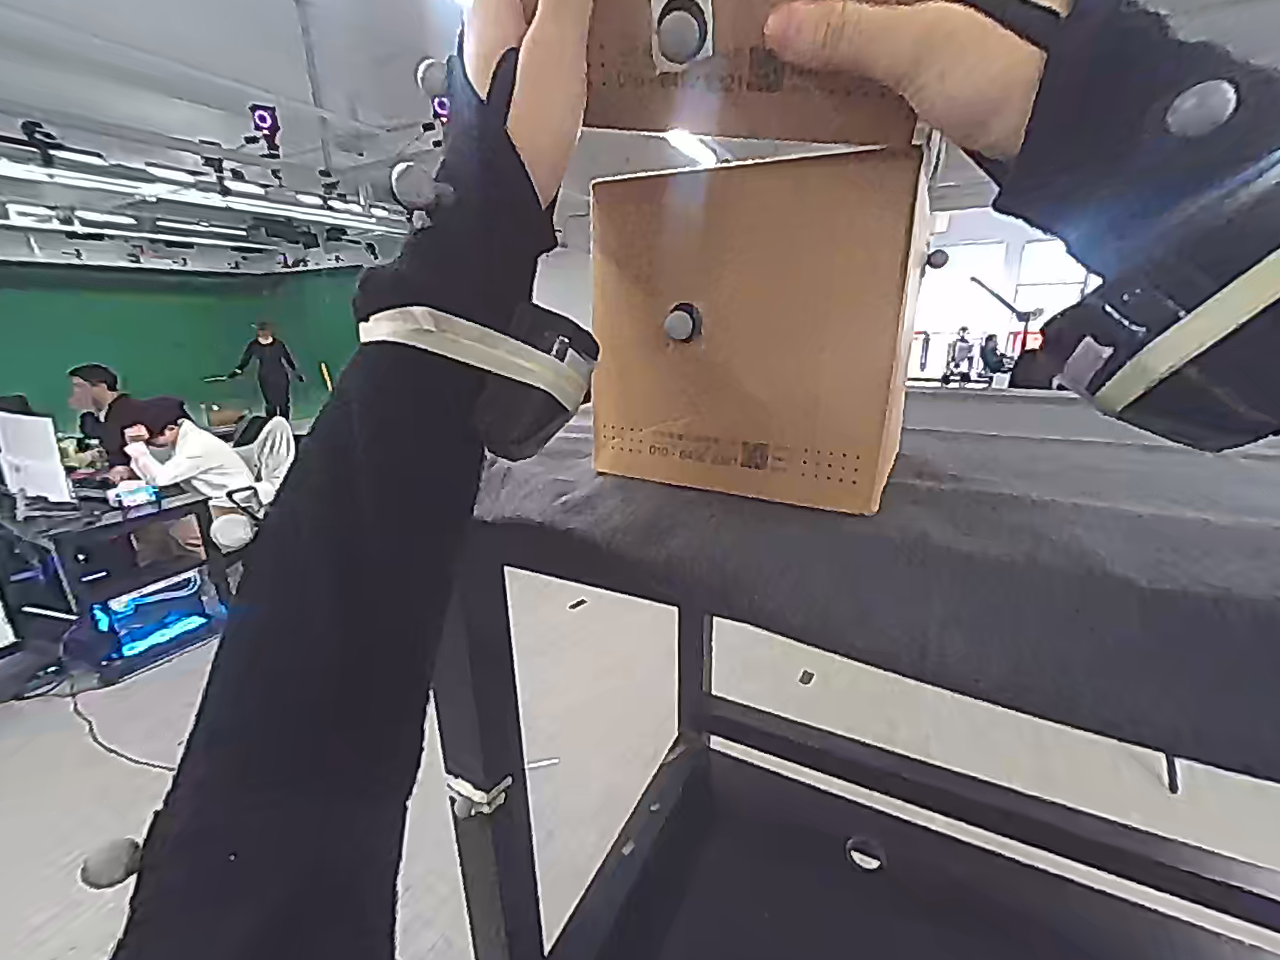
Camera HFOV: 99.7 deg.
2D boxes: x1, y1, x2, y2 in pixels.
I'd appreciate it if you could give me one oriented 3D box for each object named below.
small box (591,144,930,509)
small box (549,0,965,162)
[{"bbox_3d":[0.084,-0.088,0.351,0.168,0.176,0.179,9,17,26],"label":"small box"},{"bbox_3d":[0.057,-0.261,0.231,0.168,0.176,0.179,11,50,13],"label":"small box"}]
